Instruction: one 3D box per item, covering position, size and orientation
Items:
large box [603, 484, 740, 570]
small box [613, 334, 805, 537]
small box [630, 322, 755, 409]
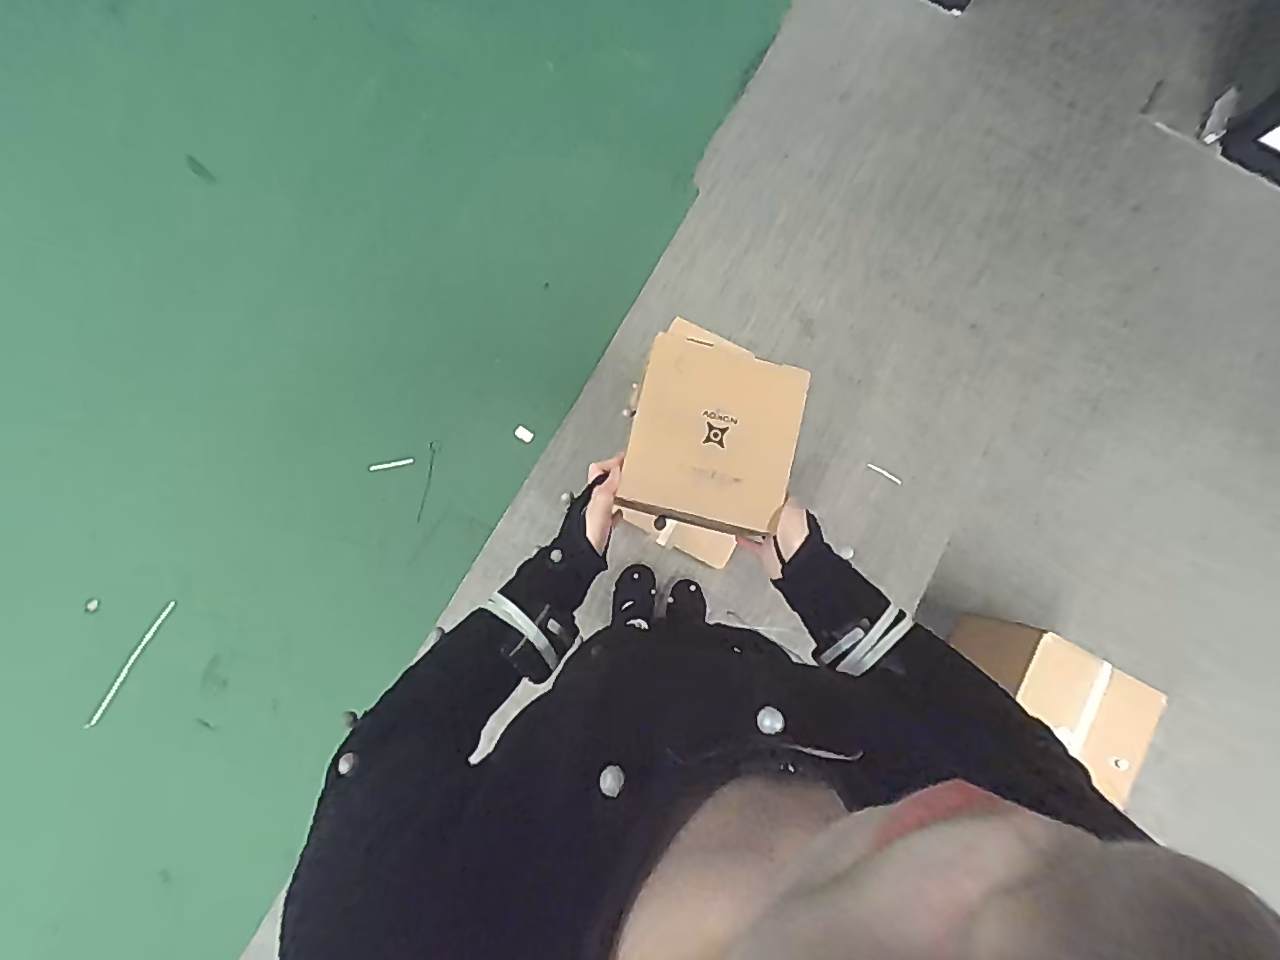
[{"bbox_3d":[0.135,-0.018,1.385,0.320,0.320,0.408,28,83,2],"label":"large box"},{"bbox_3d":[0.066,-0.038,0.622,0.168,0.176,0.179,14,84,-3],"label":"small box"},{"bbox_3d":[0.093,-0.151,0.988,0.168,0.176,0.179,27,85,5],"label":"small box"}]
